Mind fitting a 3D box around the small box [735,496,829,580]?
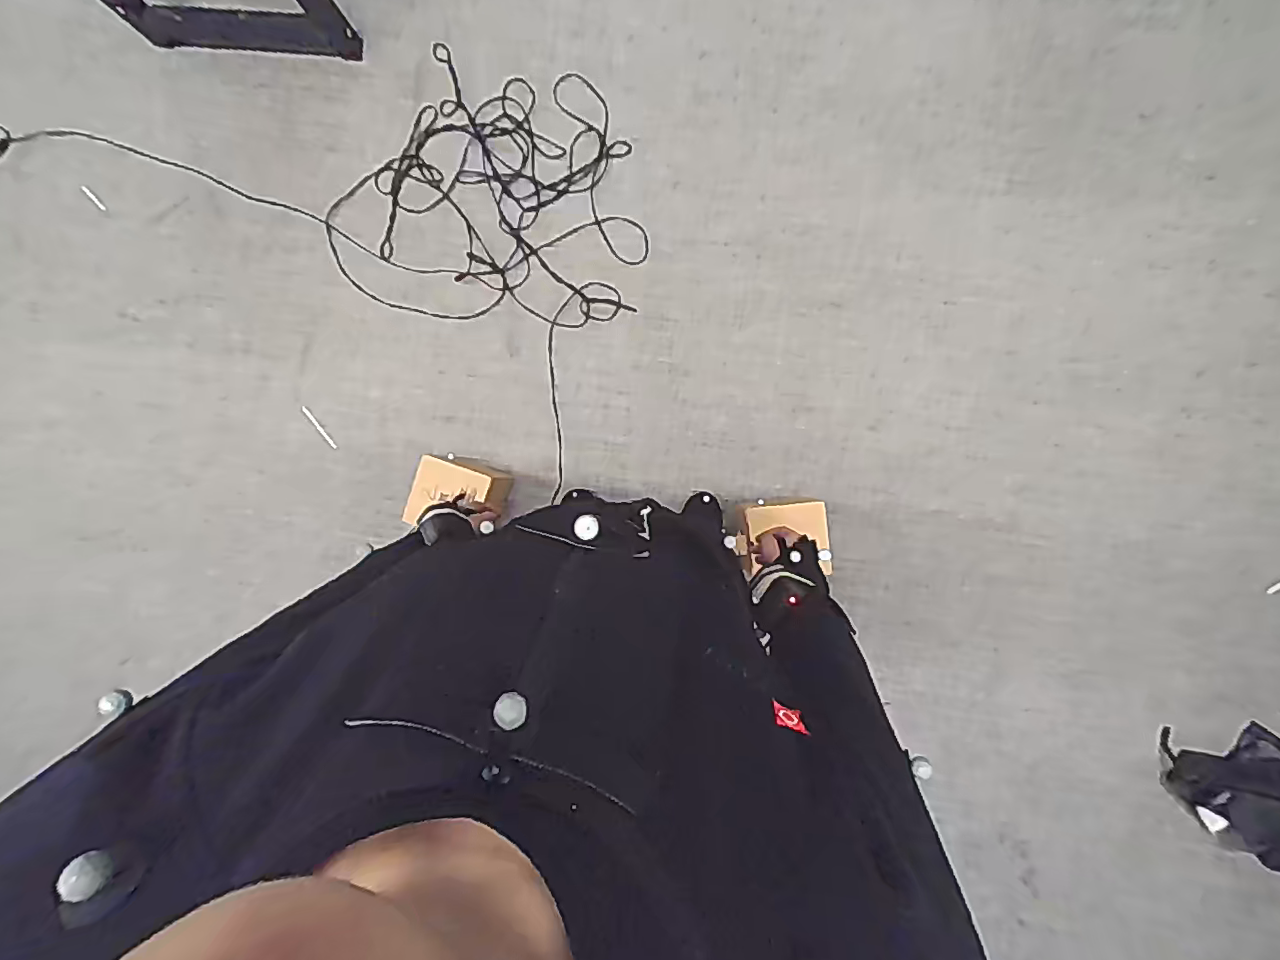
[{"bbox_3d":[0.330,0.131,1.278,0.179,0.176,0.168,-6,91,4],"label":"small box"}]
